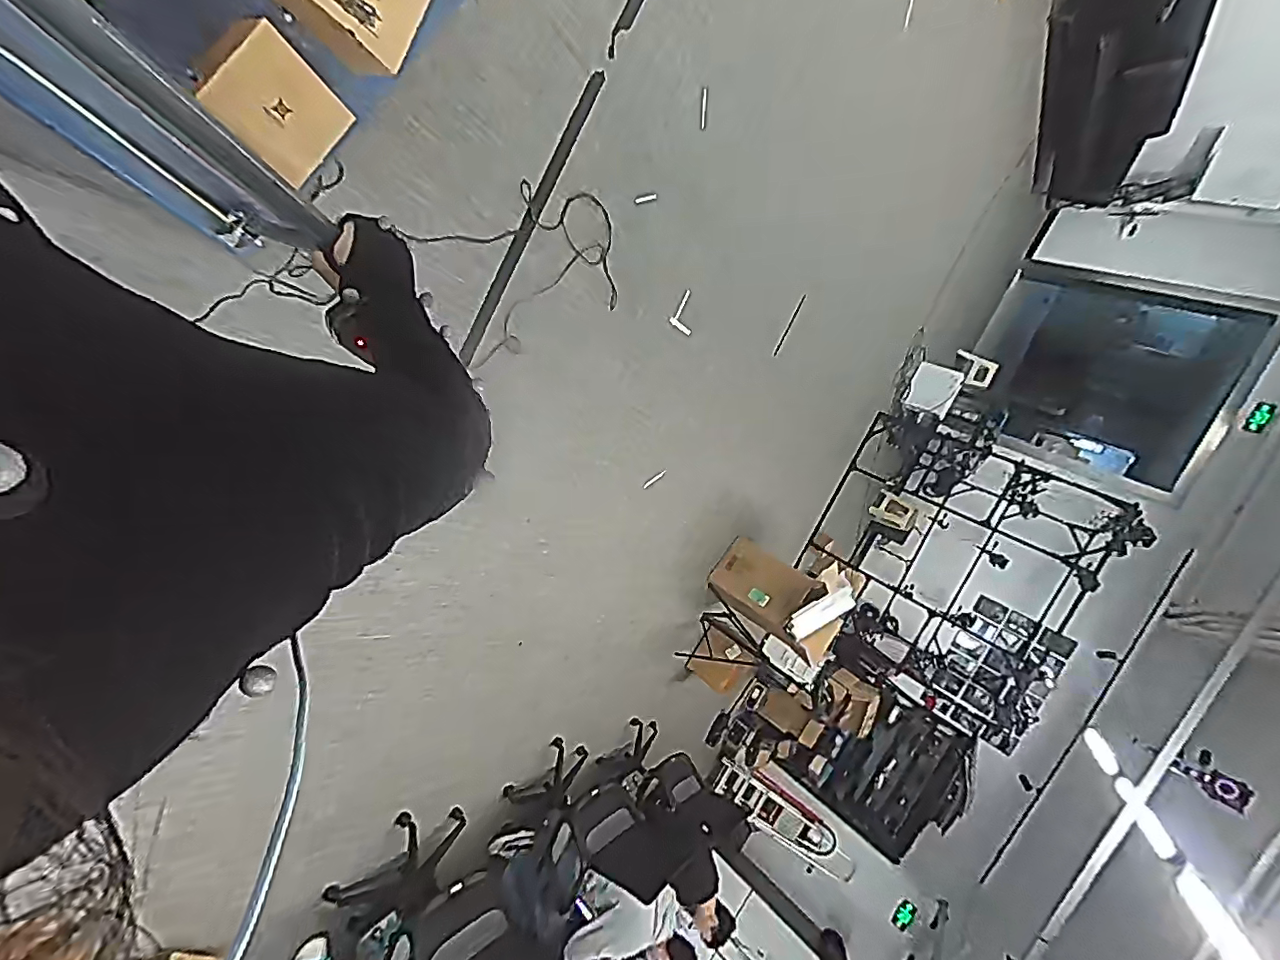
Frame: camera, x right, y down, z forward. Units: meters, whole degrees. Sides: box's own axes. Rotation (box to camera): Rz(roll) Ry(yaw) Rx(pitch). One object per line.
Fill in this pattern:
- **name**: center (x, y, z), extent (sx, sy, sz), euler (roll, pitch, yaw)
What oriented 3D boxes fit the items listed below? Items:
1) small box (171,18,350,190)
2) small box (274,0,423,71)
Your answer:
- **small box**: center (-0.643, -0.628, 0.913), extent (0.179, 0.176, 0.168), euler (-55, 147, -7)
- **small box**: center (-0.504, -0.845, 0.927), extent (0.168, 0.176, 0.179), euler (21, 97, -56)
